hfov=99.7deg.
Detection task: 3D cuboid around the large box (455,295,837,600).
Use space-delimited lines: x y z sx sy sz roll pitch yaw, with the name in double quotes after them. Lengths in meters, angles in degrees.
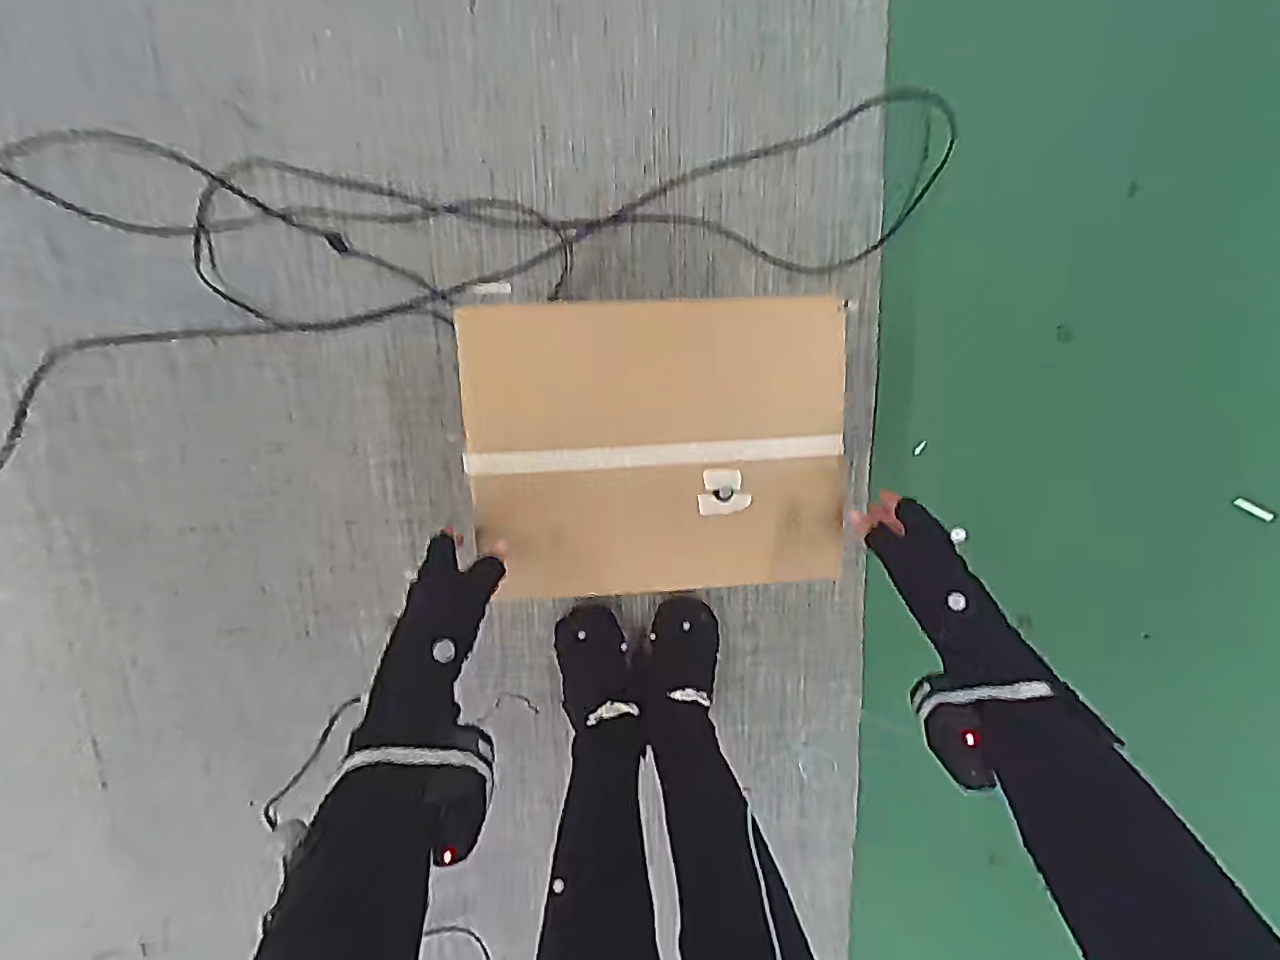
0.004 -0.056 0.728 0.408 0.320 0.320 -4 101 -5 "large box"
